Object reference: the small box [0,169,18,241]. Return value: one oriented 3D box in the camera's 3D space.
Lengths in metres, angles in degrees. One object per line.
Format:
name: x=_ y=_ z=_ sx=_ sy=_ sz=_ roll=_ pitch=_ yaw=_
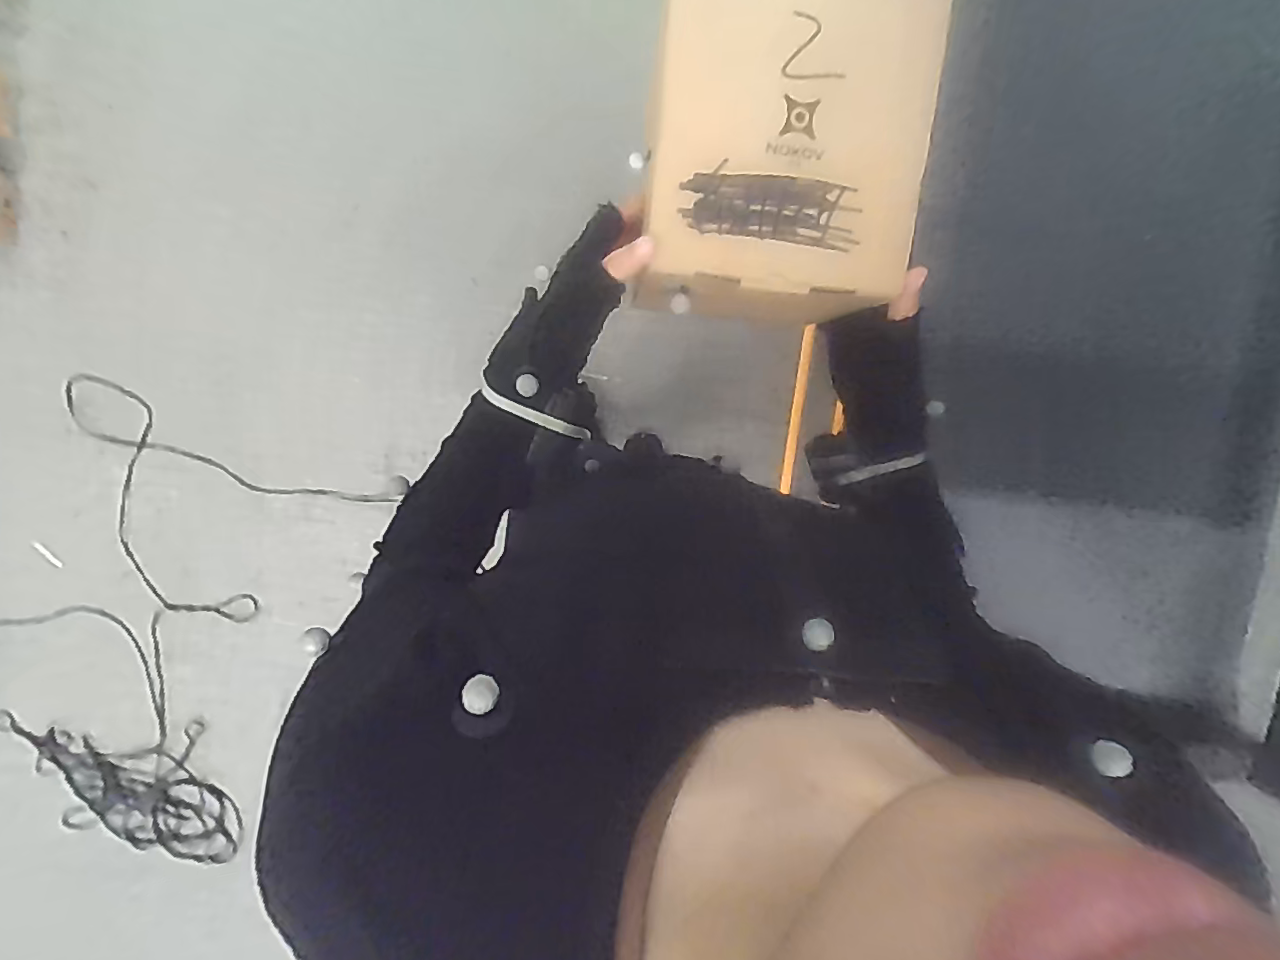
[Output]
small box: x=-1.628 y=-0.674 z=1.254 sx=0.179 sy=0.176 sz=0.168 roll=8 pitch=96 yaw=-4
